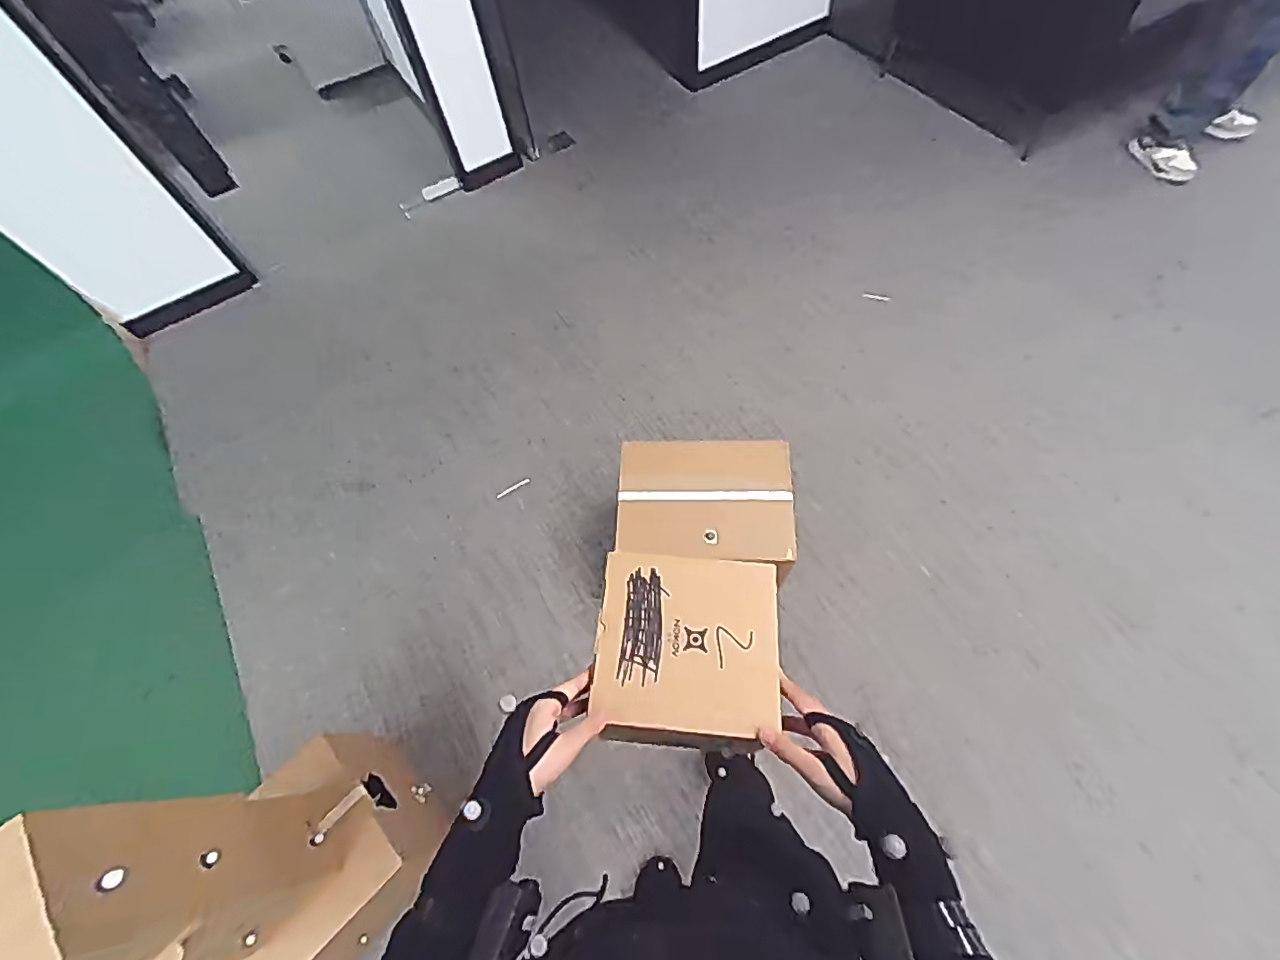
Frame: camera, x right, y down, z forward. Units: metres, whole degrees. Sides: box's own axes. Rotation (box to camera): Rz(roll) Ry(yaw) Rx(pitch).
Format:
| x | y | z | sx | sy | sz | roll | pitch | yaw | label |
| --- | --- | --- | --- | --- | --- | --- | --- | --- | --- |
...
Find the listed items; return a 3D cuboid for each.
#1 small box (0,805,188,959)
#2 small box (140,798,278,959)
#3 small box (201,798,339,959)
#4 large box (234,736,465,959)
| x | y | z | sx | sy | sz | roll | pitch | yaw | label |
| --- | --- | --- | --- | --- | --- | --- | --- | --- | --- |
| -0.676 | 0.505 | 0.615 | 0.168 | 0.176 | 0.179 | -39 | 68 | -15 | small box |
| -0.659 | 0.580 | 0.760 | 0.168 | 0.176 | 0.179 | -38 | 66 | -15 | small box |
| -0.651 | 0.665 | 0.900 | 0.179 | 0.176 | 0.168 | -40 | 67 | -16 | small box |
| -0.651 | 0.797 | 1.108 | 0.320 | 0.320 | 0.408 | 40 | 73 | 23 | large box |
